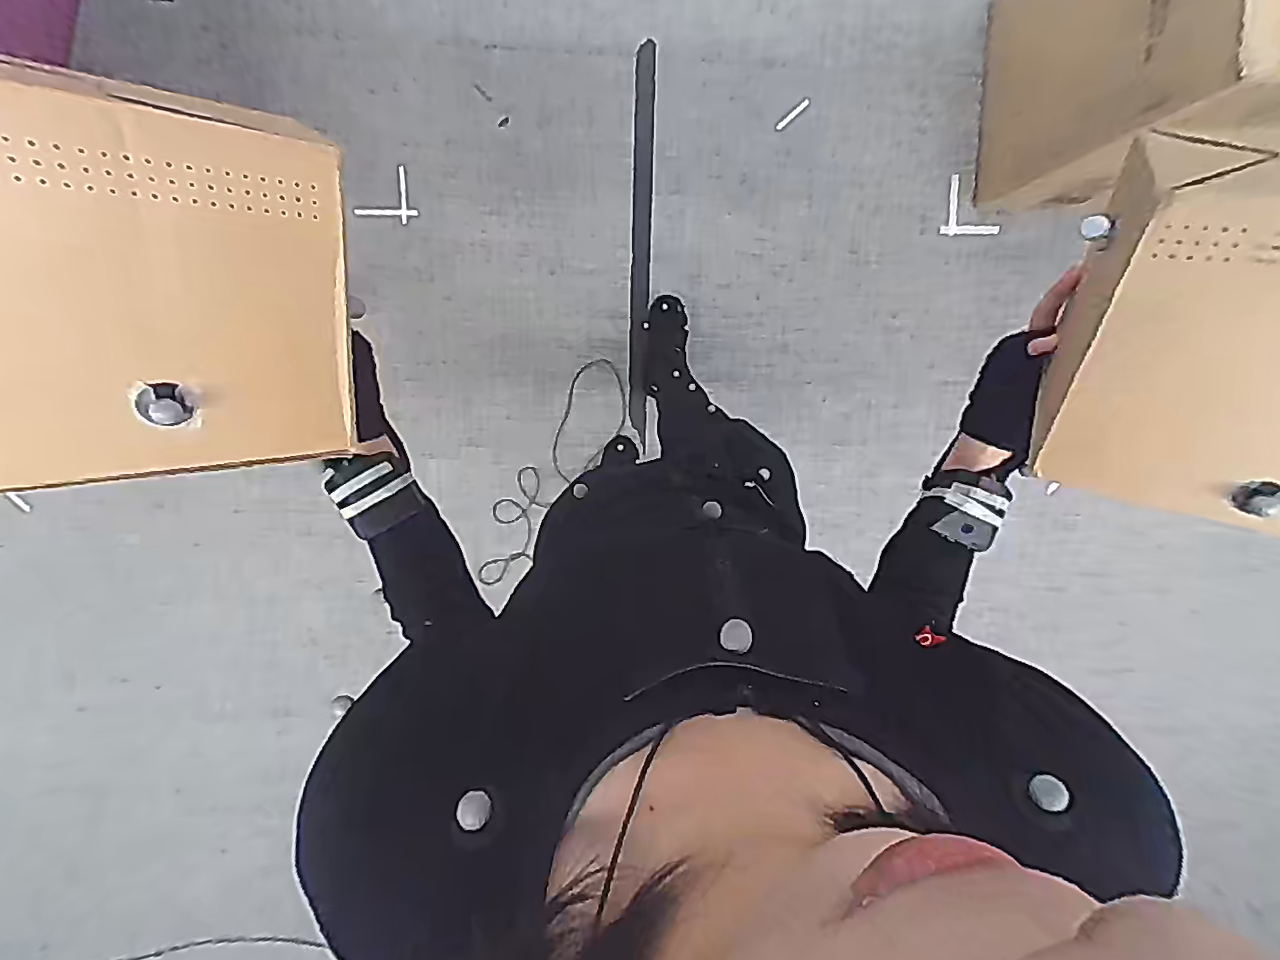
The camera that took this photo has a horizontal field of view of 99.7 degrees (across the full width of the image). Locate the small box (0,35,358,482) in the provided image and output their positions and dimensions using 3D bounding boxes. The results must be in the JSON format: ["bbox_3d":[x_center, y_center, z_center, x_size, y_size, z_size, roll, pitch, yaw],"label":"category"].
[{"bbox_3d":[-0.268,-0.120,0.290,0.179,0.168,0.176,-9,125,-35],"label":"small box"}]

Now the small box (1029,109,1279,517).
[{"bbox_3d":[0.349,-0.102,0.303,0.168,0.179,0.176,18,135,28],"label":"small box"}]
